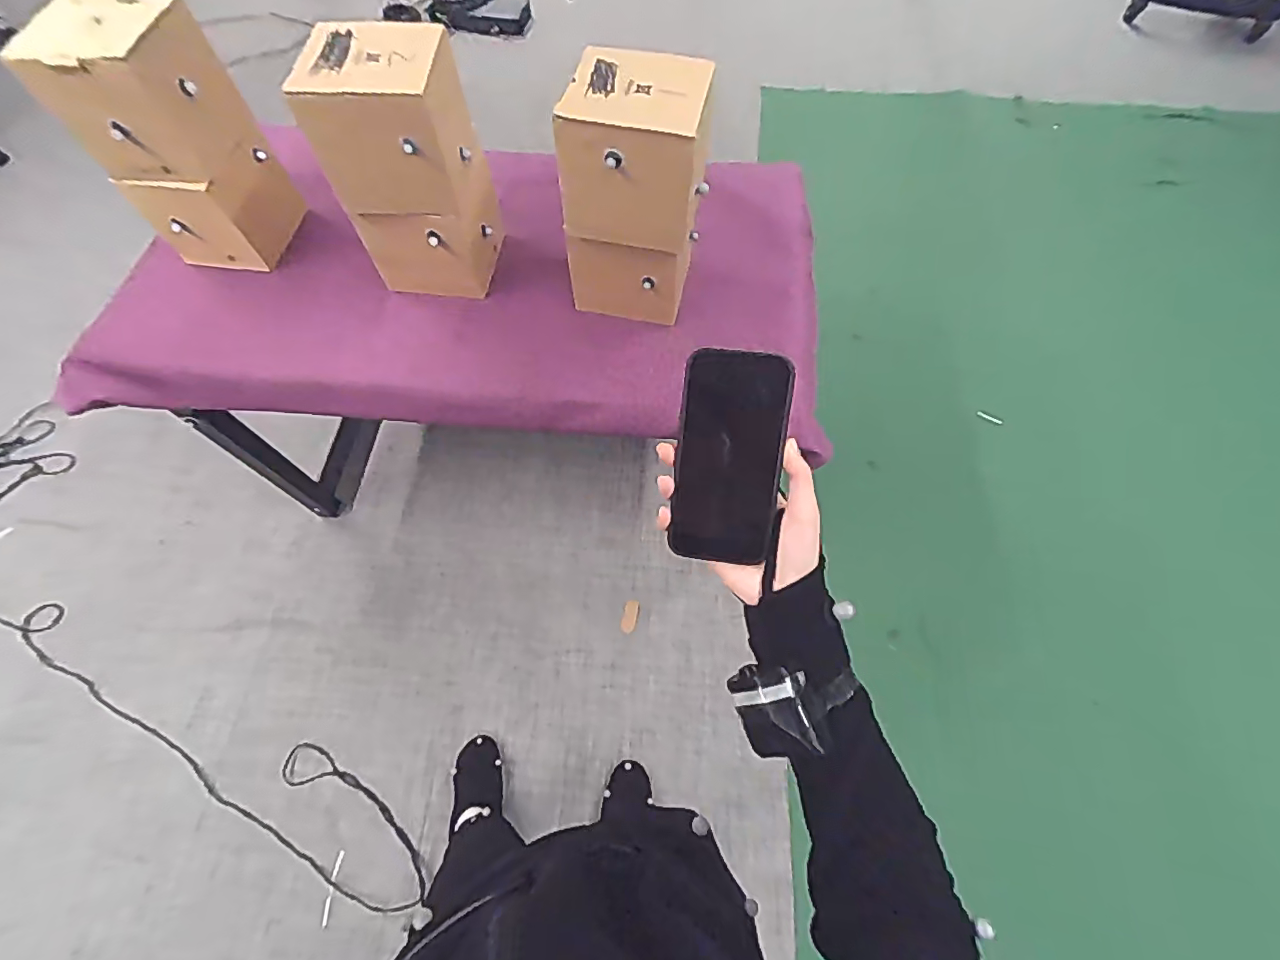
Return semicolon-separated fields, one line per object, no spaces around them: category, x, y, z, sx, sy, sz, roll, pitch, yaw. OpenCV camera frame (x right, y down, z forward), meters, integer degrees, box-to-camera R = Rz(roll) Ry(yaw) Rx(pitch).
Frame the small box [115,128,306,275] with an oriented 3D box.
small box;-0.734;-0.487;0.951;0.168;0.176;0.179;6;63;4

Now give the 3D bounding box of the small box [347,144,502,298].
small box;-0.348;-0.431;0.917;0.179;0.176;0.168;6;63;3

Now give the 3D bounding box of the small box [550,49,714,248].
small box;-0.006;-0.445;0.739;0.179;0.176;0.168;11;63;6

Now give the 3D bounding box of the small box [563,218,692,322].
small box;-0.011;-0.385;0.892;0.179;0.176;0.168;11;63;7

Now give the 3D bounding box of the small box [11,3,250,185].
small box;-0.734;-0.569;0.808;0.168;0.176;0.179;2;64;1
